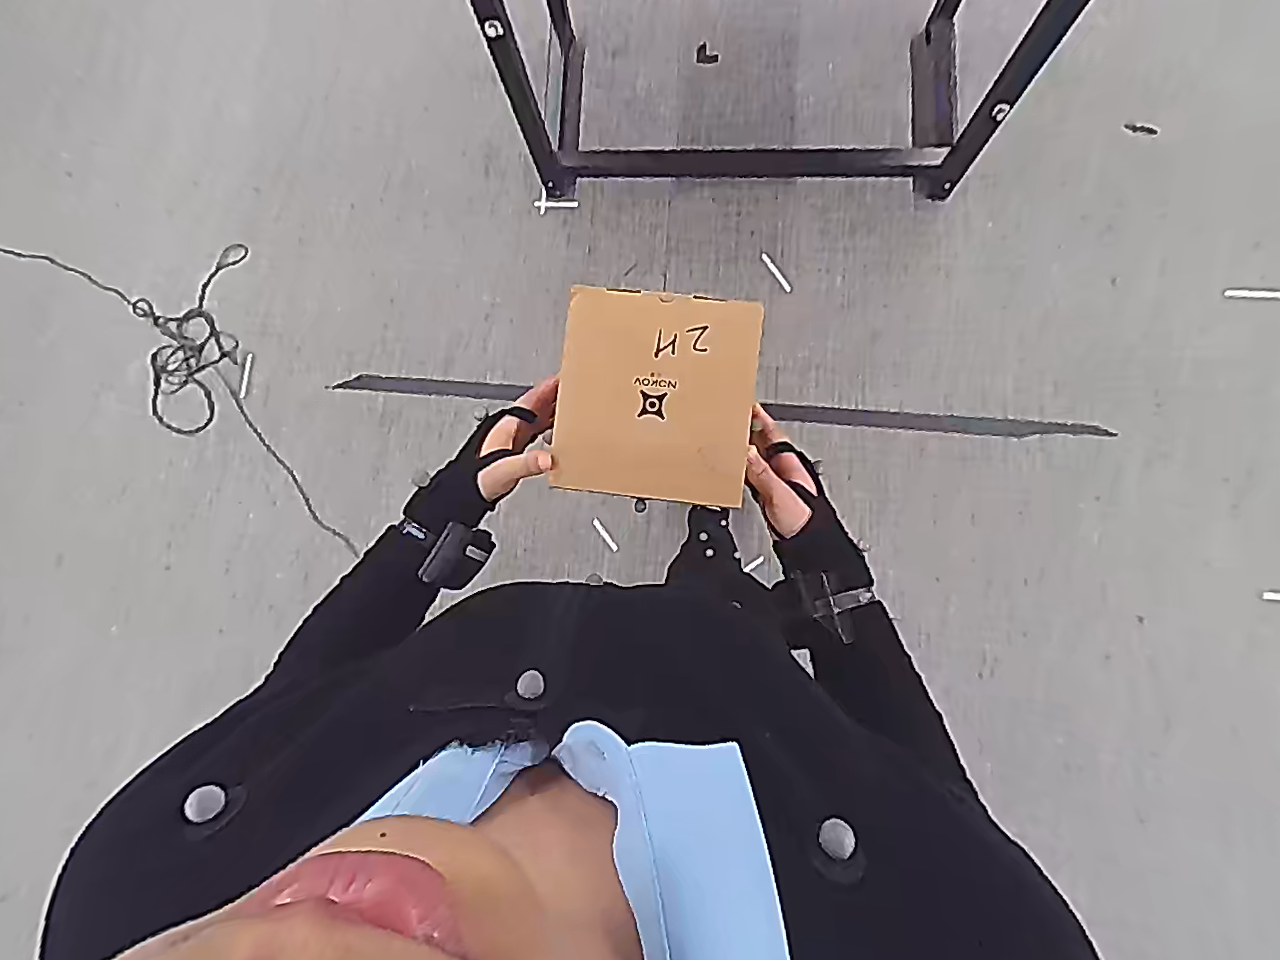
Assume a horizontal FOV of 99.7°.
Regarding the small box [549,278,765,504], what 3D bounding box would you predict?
[{"bbox_3d":[0.018,-0.074,0.532,0.168,0.176,0.179,7,88,2],"label":"small box"}]
